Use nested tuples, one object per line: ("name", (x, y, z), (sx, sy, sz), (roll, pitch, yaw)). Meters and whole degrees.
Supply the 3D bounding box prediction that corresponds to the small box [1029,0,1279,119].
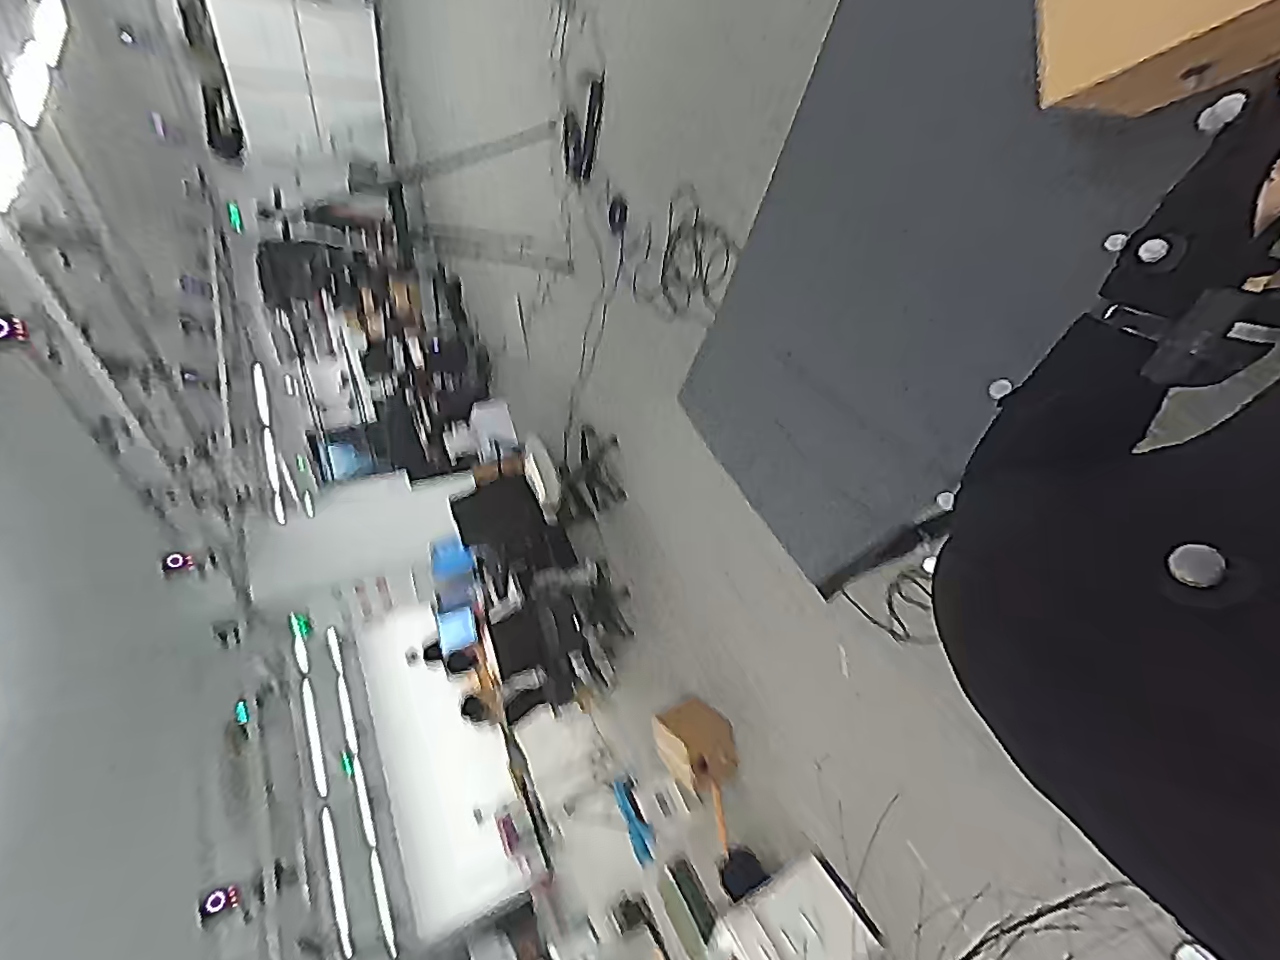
("small box", (0.463, -0.434, 0.453), (0.168, 0.176, 0.179), (12, 114, 63))
